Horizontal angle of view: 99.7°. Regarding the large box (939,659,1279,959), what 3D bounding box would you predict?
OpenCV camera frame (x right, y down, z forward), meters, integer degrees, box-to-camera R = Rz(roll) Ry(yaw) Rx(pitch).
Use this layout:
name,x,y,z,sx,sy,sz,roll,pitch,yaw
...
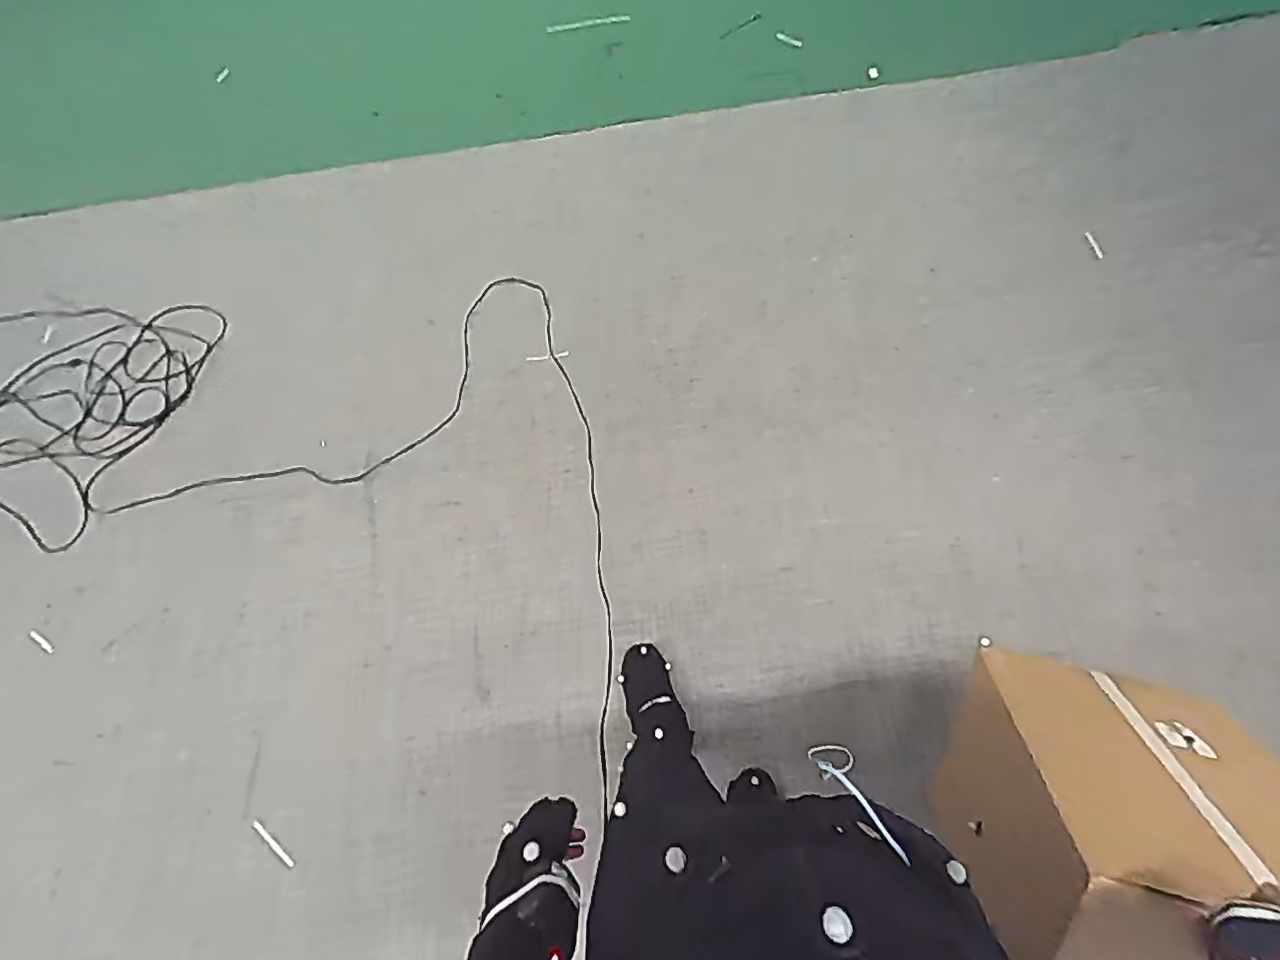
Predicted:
name,x,y,z,sx,sy,sz,roll,pitch,yaw
large box,0.611,0.496,0.675,0.320,0.408,0.320,10,106,16
